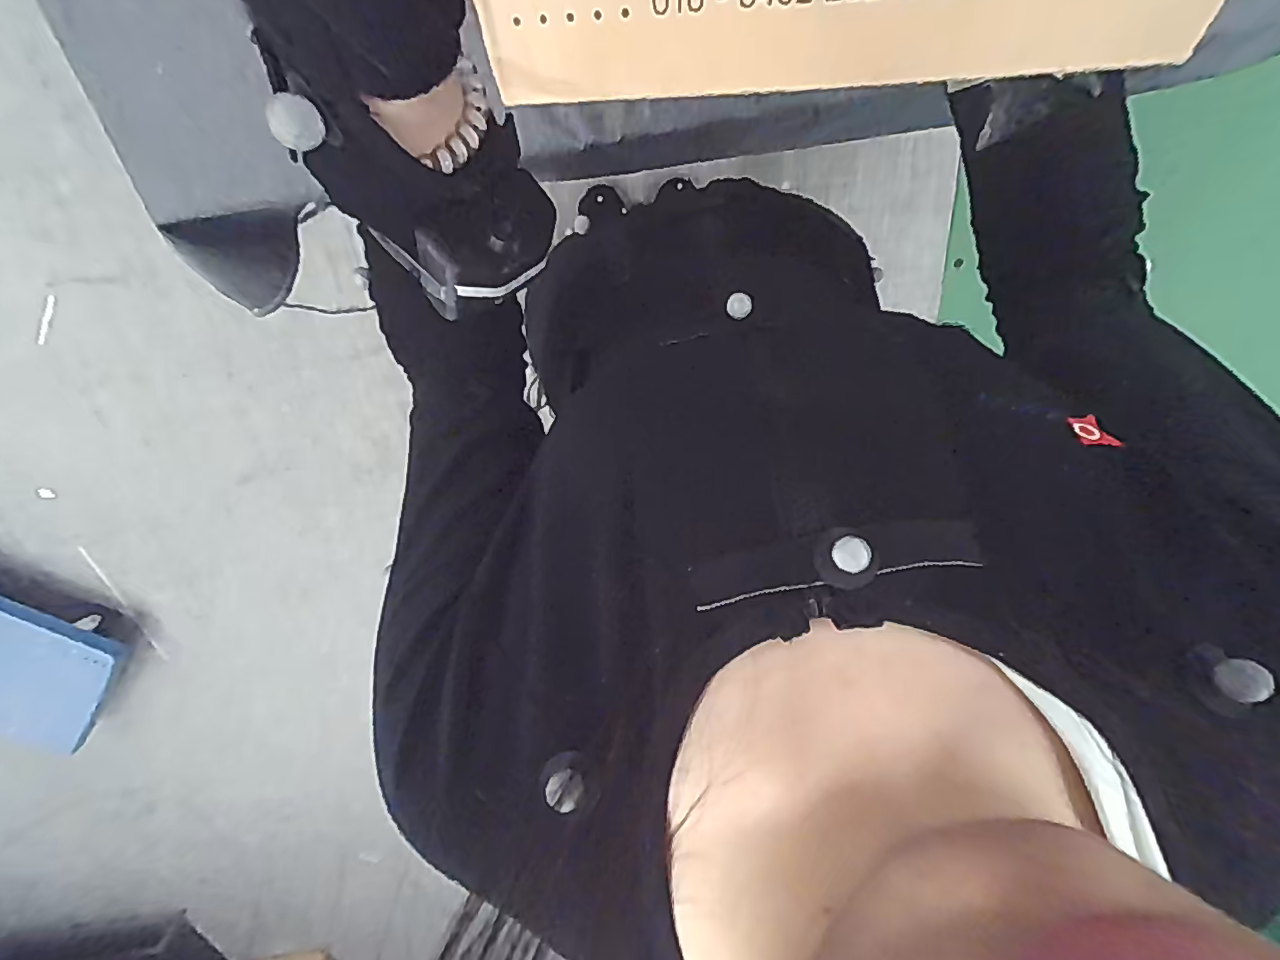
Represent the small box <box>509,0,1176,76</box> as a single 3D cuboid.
[{"bbox_3d":[0.044,-0.218,0.113,0.168,0.179,0.176,0,148,6],"label":"small box"}]
